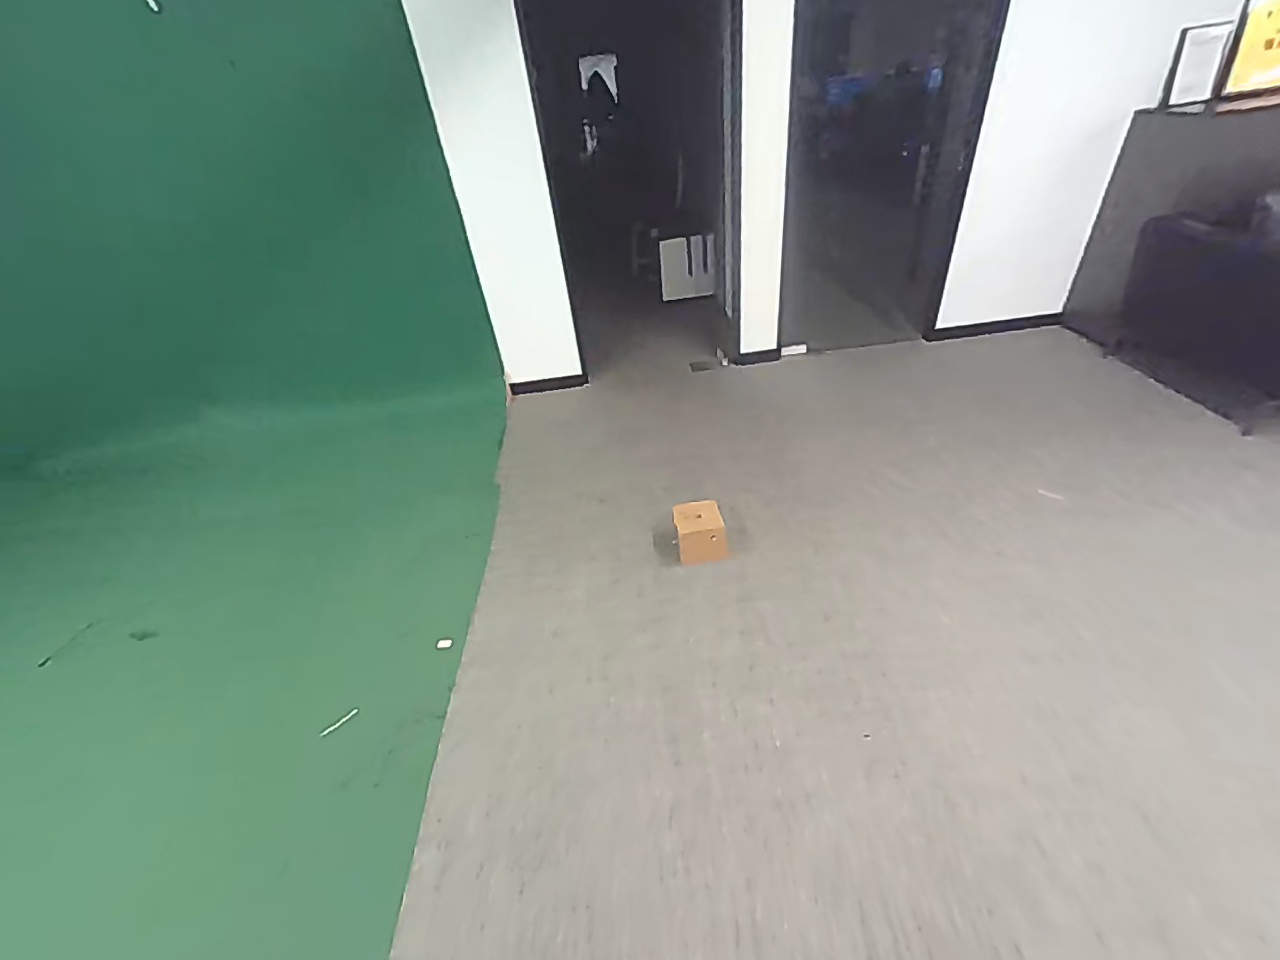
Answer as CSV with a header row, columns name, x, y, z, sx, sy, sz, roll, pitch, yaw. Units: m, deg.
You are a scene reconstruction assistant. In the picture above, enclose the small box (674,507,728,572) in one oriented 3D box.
name,x,y,z,sx,sy,sz,roll,pitch,yaw
small box,0.232,0.229,2.071,0.179,0.176,0.168,-9,36,-2
